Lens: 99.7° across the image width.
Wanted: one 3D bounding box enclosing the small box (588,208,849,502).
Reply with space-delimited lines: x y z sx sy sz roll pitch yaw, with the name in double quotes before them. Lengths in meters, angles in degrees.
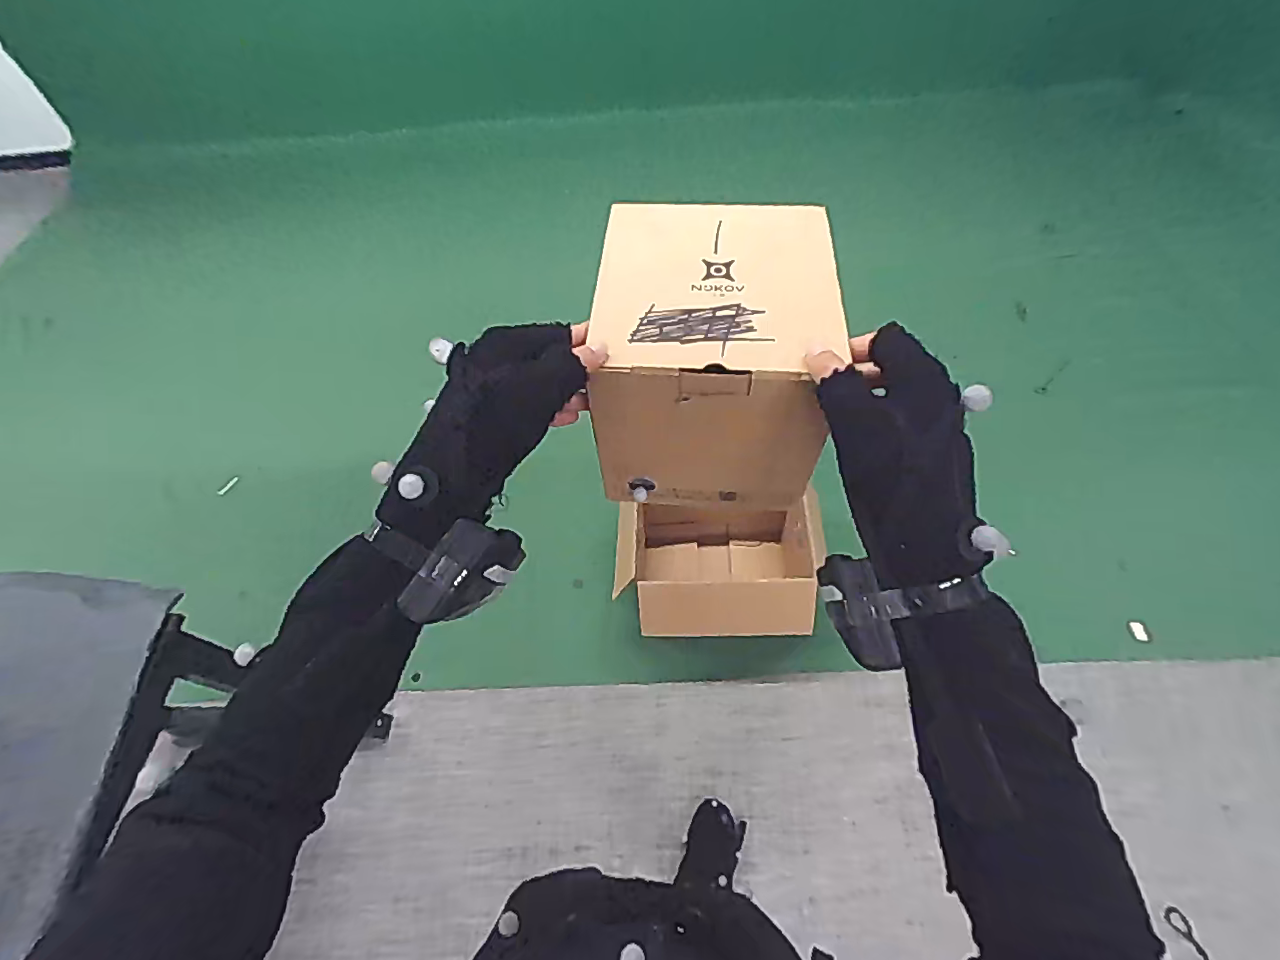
"small box" 0.059 -0.096 0.446 0.168 0.176 0.179 3 57 4
